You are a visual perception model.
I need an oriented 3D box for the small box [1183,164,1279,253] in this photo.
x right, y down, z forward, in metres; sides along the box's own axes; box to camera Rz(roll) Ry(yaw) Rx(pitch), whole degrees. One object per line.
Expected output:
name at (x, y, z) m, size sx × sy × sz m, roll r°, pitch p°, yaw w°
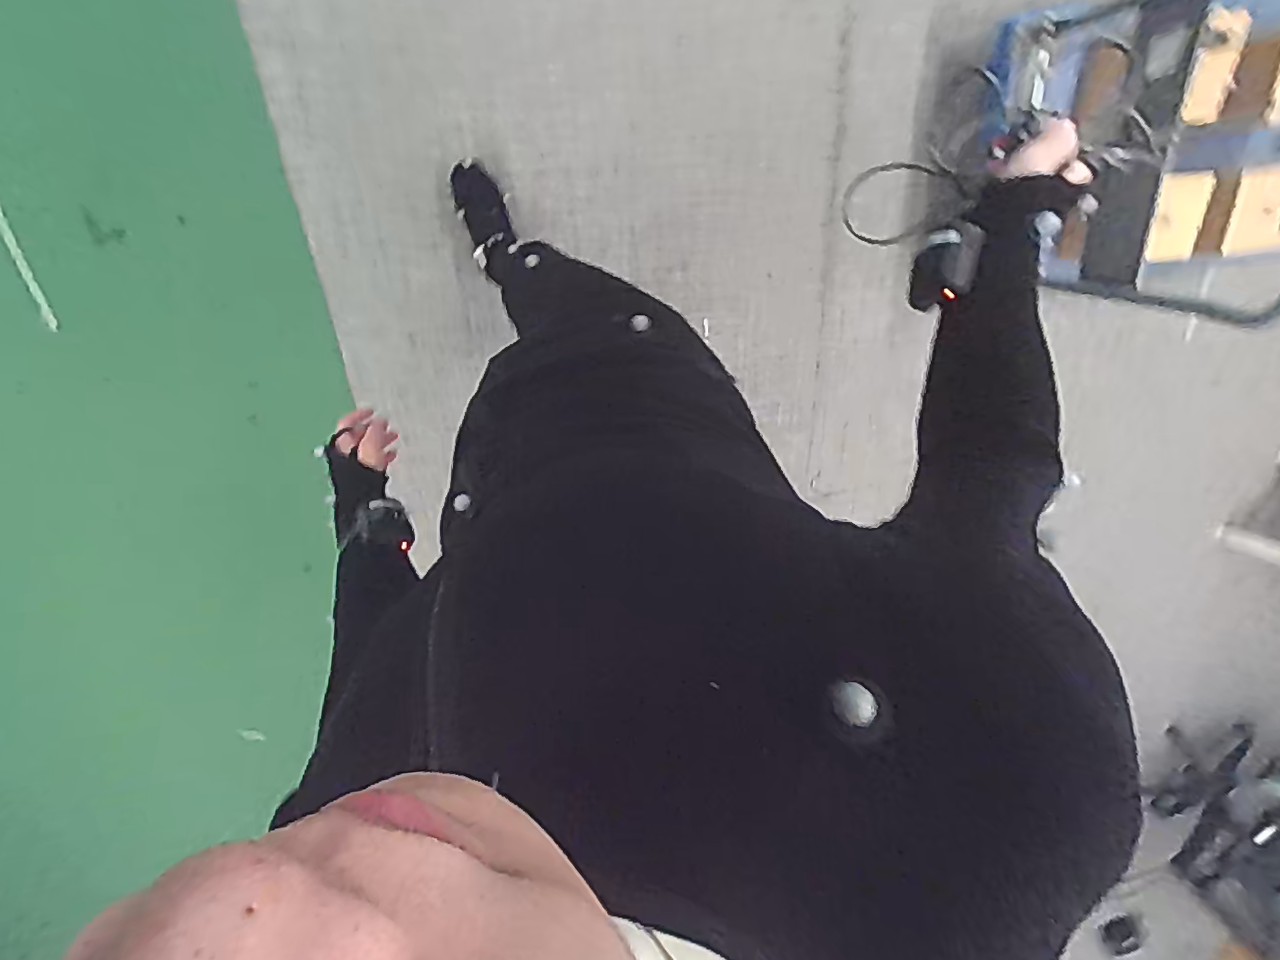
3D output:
small box at (1.368, -0.631, 1.256) m, size 0.179 × 0.176 × 0.168 m, roll -9°, pitch 115°, yaw -1°

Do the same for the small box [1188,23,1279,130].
small box at (1.339, -0.860, 1.146) m, size 0.179 × 0.176 × 0.168 m, roll -11°, pitch 116°, yaw -1°

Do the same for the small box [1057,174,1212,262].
small box at (1.124, -0.601, 1.244) m, size 0.179 × 0.176 × 0.168 m, roll -6°, pitch 115°, yaw -3°
